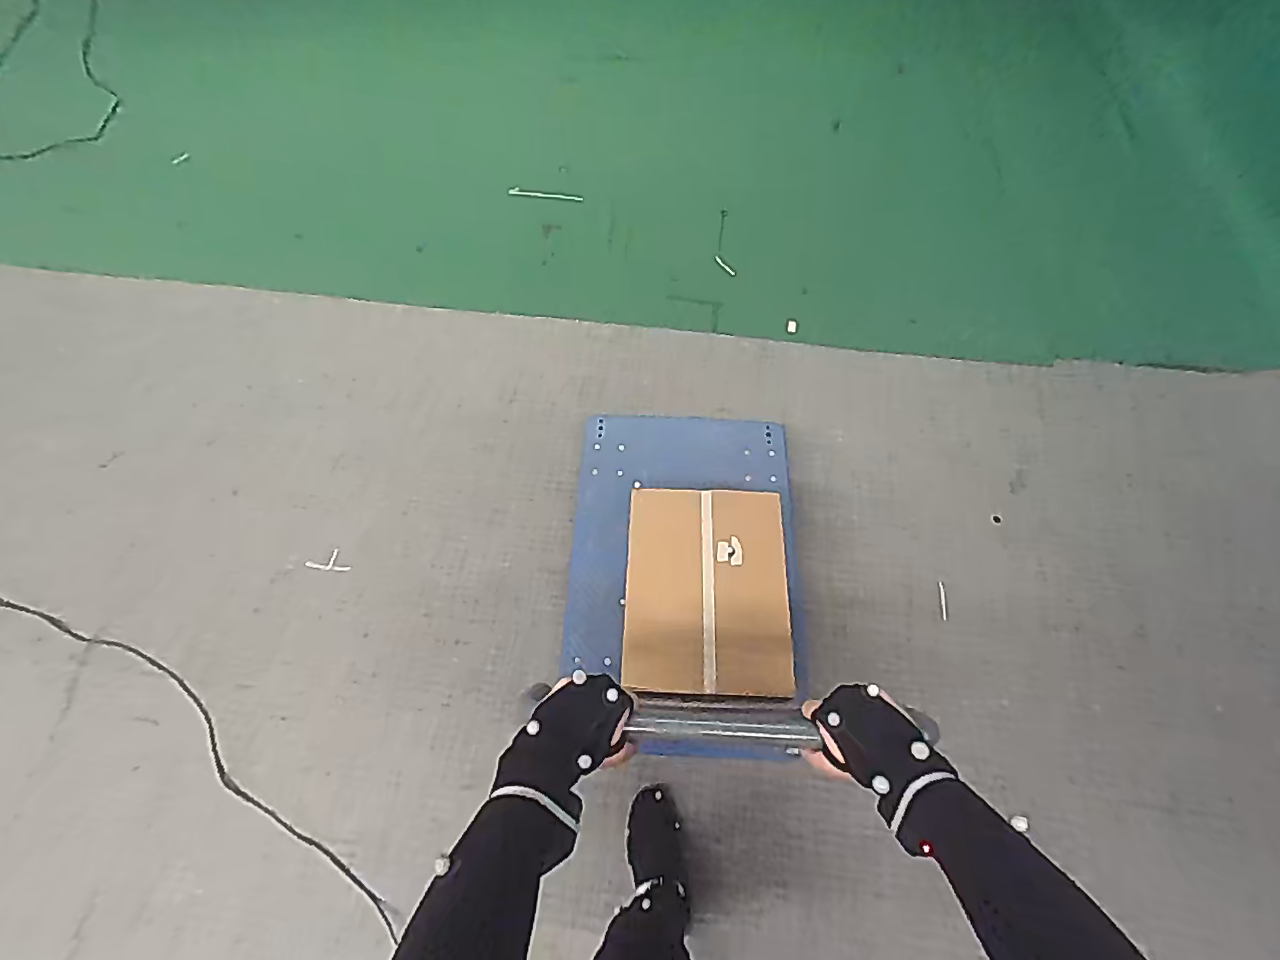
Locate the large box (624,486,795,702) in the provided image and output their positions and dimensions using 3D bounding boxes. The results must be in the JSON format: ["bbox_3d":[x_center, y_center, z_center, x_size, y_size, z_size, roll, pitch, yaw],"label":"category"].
[{"bbox_3d":[0.131,0.261,1.189,0.320,0.320,0.408,2,63,0],"label":"large box"}]
